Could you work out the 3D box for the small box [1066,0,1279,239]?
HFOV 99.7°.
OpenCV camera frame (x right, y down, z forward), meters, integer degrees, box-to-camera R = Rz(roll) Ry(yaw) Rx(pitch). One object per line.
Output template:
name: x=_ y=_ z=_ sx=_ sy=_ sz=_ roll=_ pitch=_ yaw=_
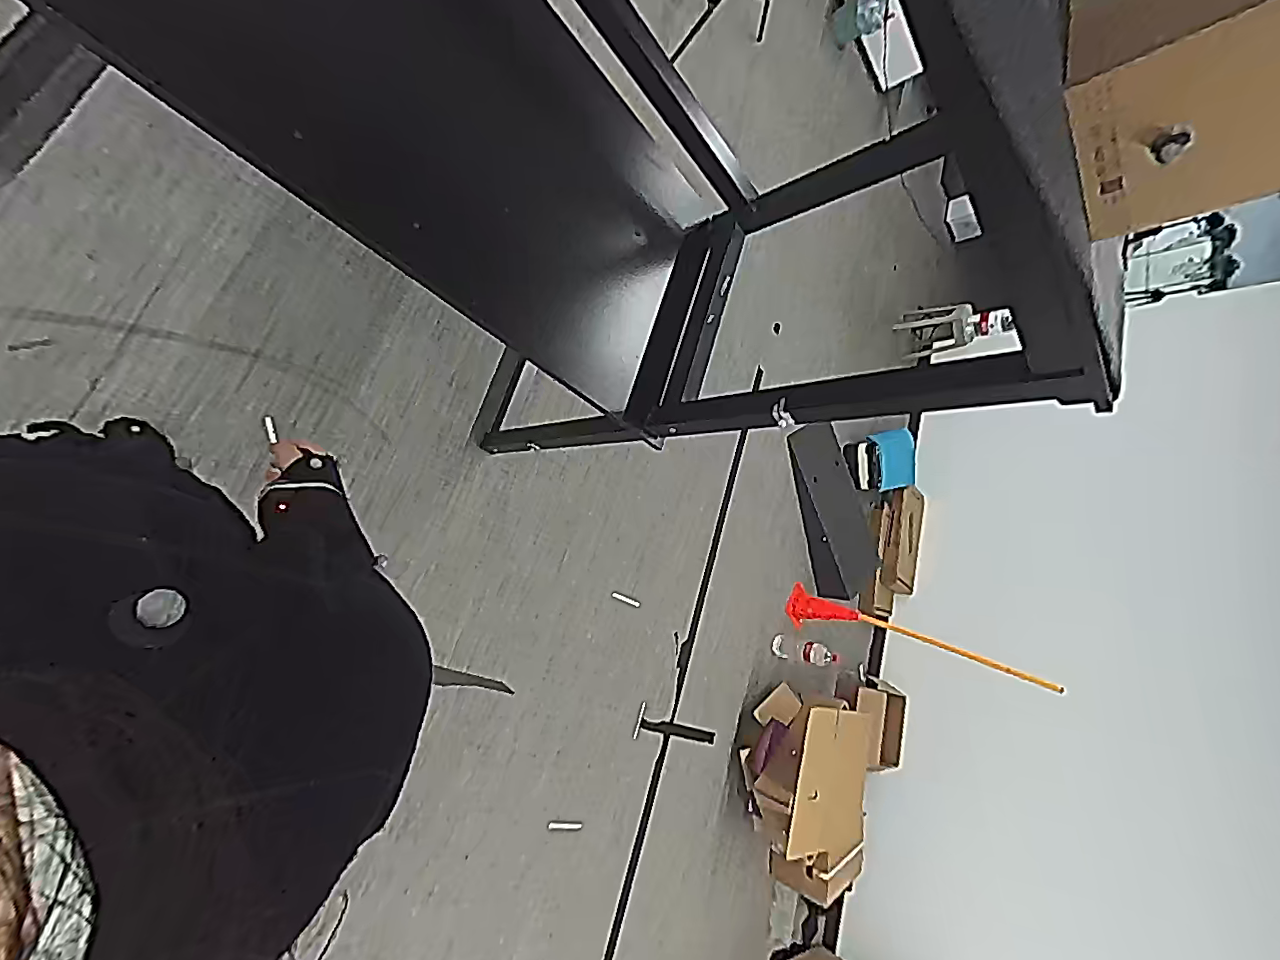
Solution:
small box: x=0.453 y=-0.333 z=0.427 sx=0.168 sy=0.176 sz=0.179 roll=34 pitch=66 yaw=-38
